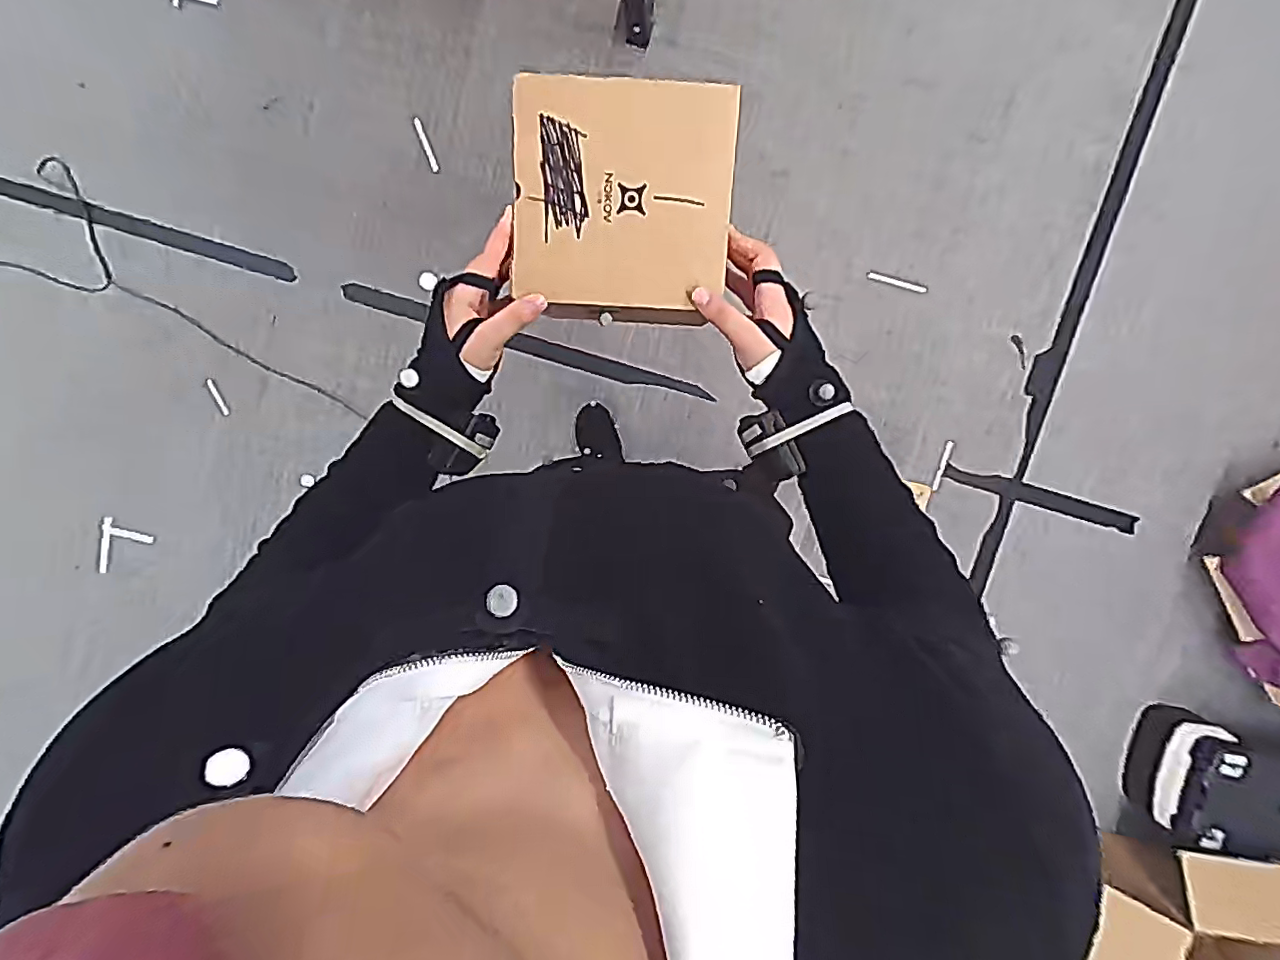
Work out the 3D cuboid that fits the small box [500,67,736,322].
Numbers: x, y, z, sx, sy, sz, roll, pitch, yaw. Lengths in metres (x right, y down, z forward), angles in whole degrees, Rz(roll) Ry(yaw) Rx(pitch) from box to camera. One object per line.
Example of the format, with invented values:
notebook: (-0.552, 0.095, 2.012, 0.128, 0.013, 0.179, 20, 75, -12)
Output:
small box: (-0.019, -0.238, 0.494, 0.179, 0.176, 0.168, 3, 102, 0)
